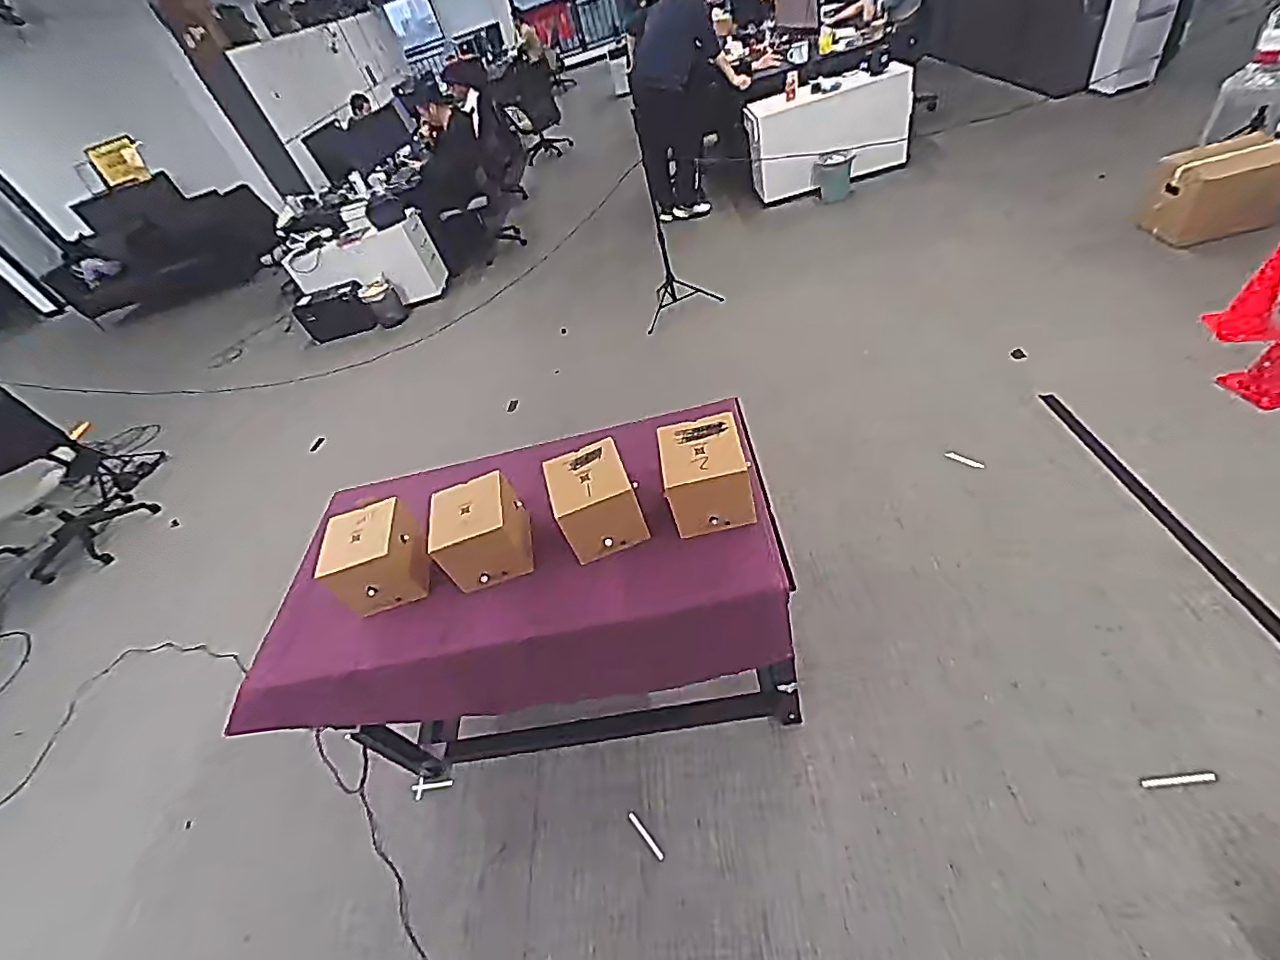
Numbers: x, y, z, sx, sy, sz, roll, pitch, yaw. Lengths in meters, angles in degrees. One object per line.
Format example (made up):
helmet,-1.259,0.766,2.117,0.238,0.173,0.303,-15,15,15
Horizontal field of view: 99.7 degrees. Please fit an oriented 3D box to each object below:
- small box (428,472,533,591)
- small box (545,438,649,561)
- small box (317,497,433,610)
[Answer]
small box,-0.350,0.116,1.211,0.168,0.176,0.179,-19,44,2
small box,-0.093,0.045,1.187,0.168,0.176,0.179,-21,45,-1
small box,-0.594,0.176,1.238,0.168,0.176,0.179,-18,44,1
